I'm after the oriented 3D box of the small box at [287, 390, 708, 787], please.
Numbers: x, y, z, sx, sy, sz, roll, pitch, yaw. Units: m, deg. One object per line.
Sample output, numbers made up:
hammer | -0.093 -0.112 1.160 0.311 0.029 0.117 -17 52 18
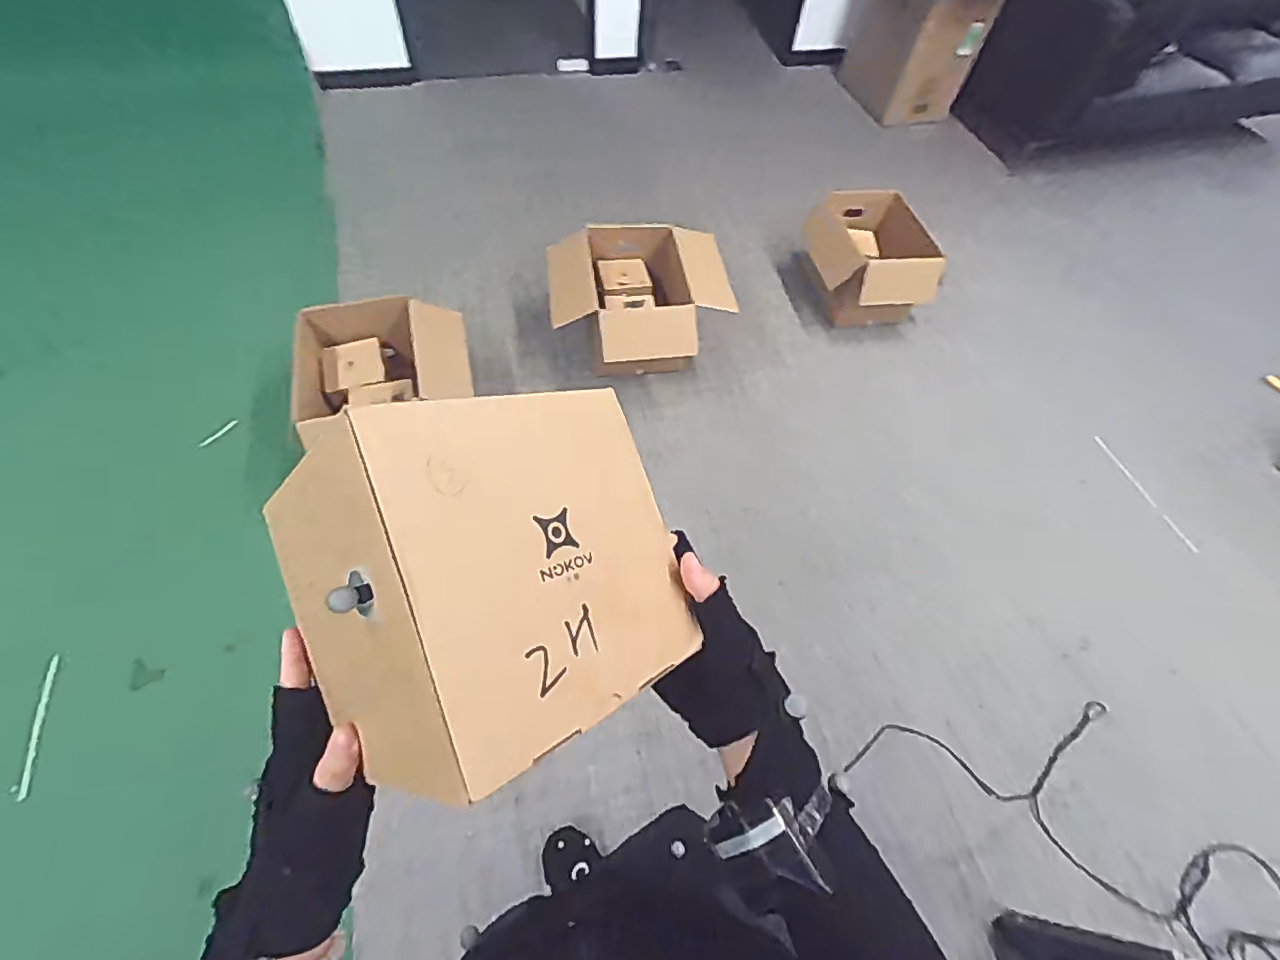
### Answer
small box | -0.093 0.058 0.337 0.168 0.176 0.179 -13 83 -47
